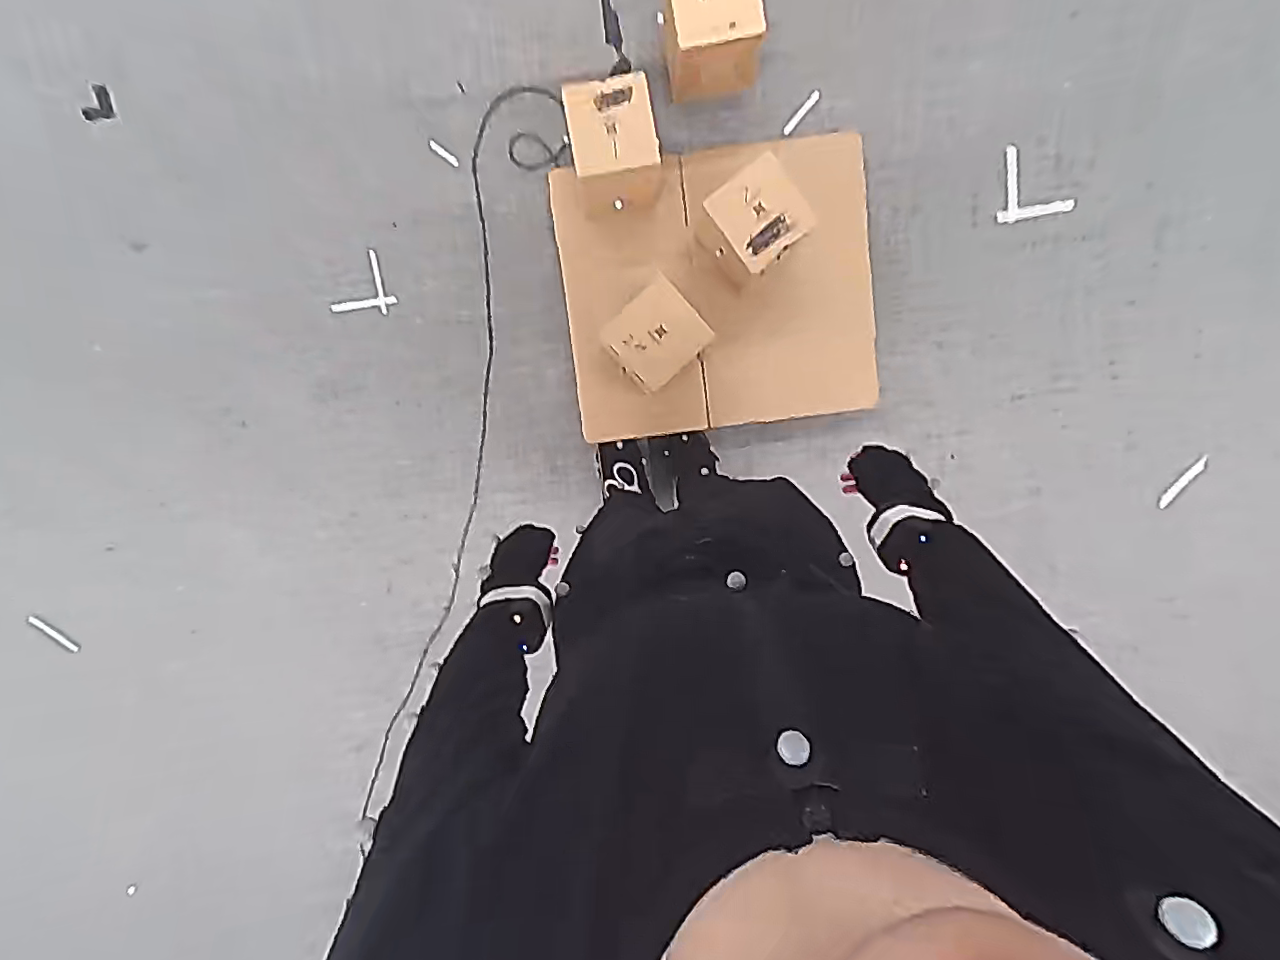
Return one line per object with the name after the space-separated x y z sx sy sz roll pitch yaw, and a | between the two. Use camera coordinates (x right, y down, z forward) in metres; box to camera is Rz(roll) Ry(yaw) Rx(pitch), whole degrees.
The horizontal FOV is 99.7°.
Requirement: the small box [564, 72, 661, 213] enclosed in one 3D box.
-0.056 -0.686 1.116 0.168 0.176 0.179 -10 93 -1 | small box

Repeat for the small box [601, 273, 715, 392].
0.032 -0.308 1.167 0.179 0.176 0.168 -42 96 3 | small box
